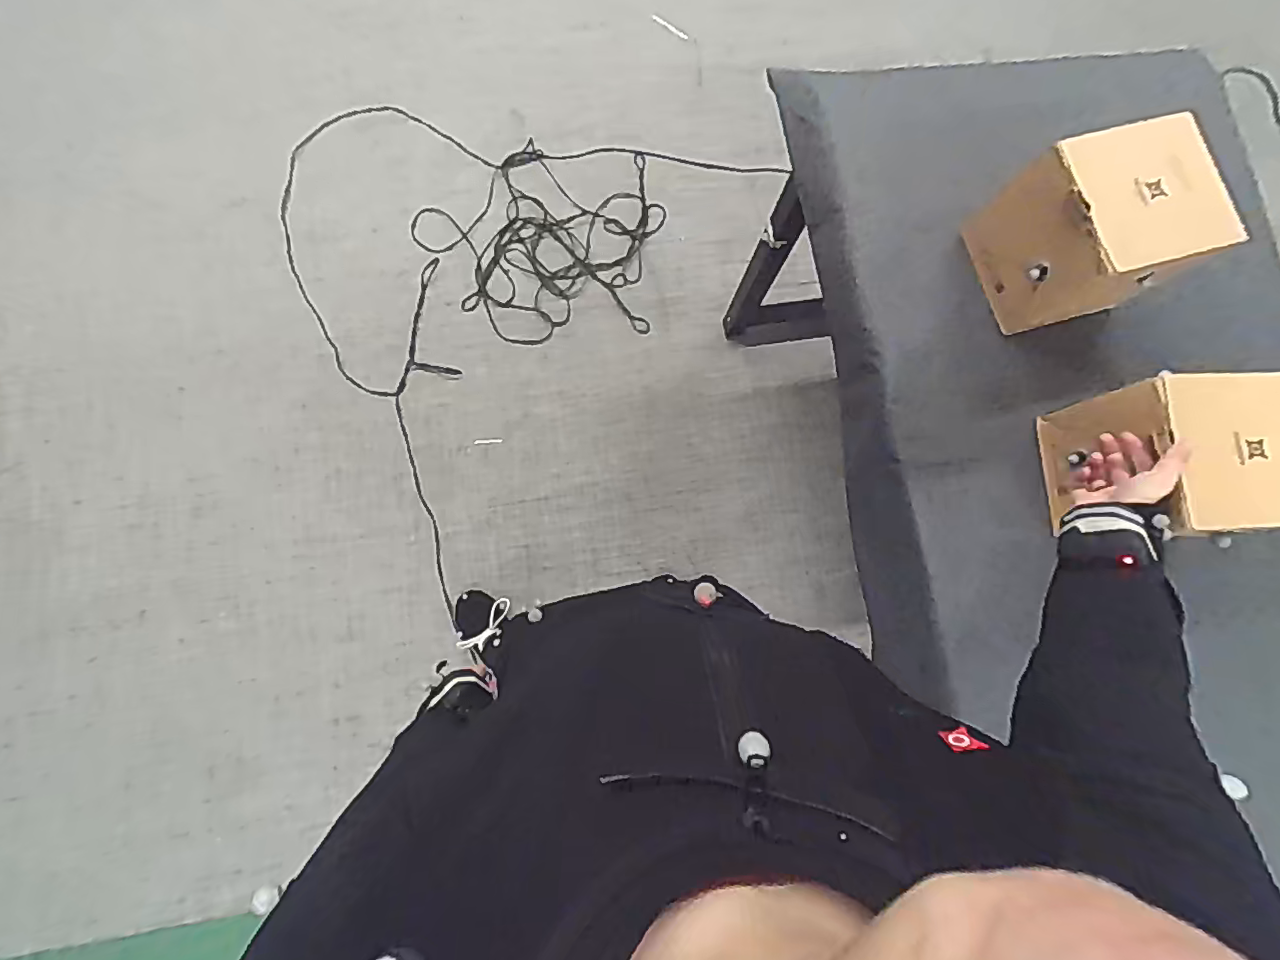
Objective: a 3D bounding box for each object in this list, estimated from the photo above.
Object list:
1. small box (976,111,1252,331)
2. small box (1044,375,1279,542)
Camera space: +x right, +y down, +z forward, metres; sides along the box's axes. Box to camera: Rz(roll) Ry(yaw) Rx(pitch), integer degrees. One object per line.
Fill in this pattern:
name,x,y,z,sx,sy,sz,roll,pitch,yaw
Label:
small box,0.556,-0.304,0.667,0.179,0.176,0.168,-16,83,-8
small box,0.621,-0.016,0.623,0.179,0.176,0.168,-2,81,-4
